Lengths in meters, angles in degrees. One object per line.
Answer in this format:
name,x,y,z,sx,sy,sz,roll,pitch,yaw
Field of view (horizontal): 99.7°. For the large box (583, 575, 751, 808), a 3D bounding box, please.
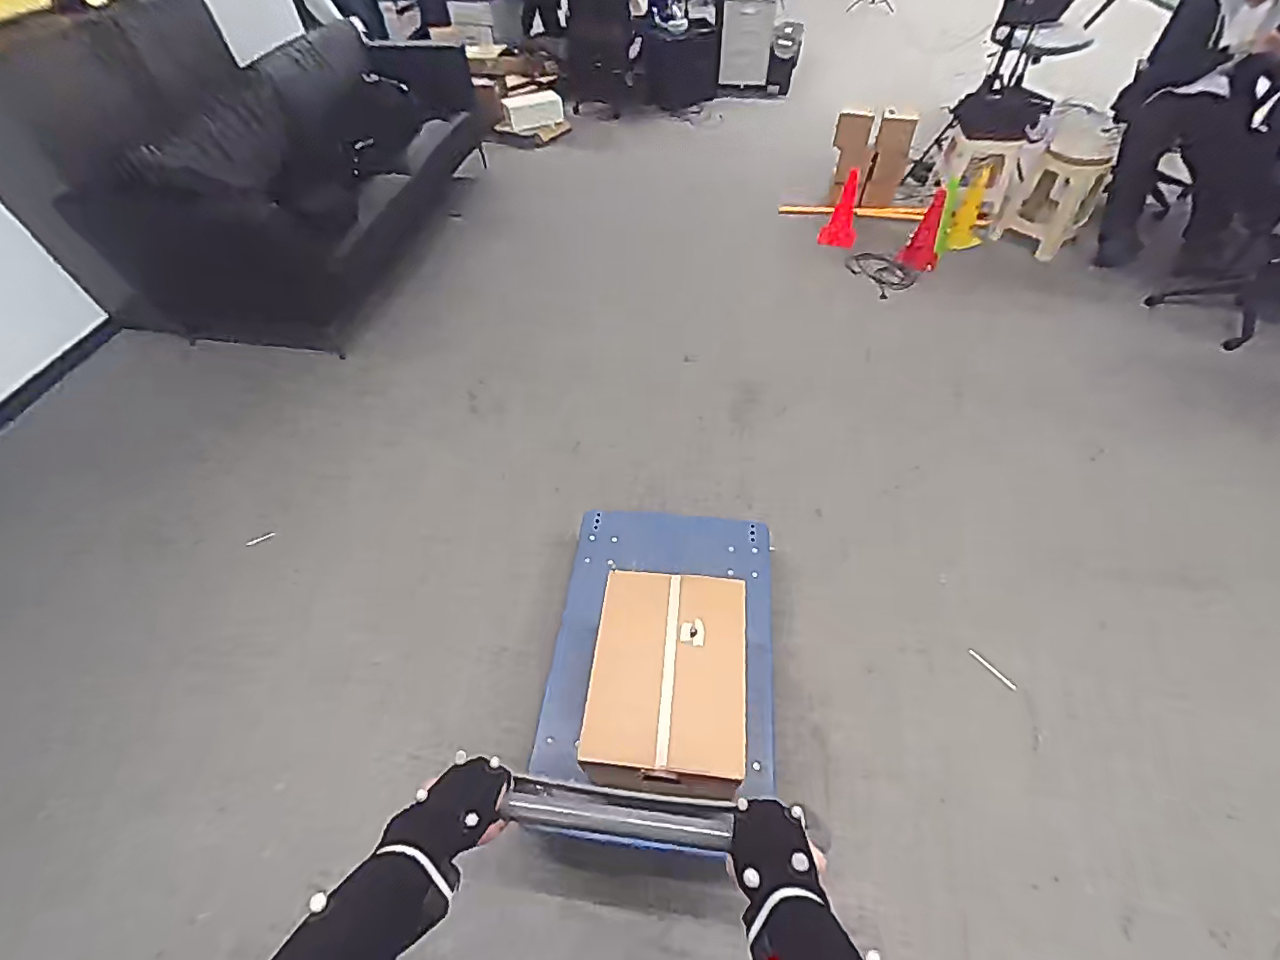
large box,0.072,0.472,1.213,0.320,0.320,0.408,4,51,6
